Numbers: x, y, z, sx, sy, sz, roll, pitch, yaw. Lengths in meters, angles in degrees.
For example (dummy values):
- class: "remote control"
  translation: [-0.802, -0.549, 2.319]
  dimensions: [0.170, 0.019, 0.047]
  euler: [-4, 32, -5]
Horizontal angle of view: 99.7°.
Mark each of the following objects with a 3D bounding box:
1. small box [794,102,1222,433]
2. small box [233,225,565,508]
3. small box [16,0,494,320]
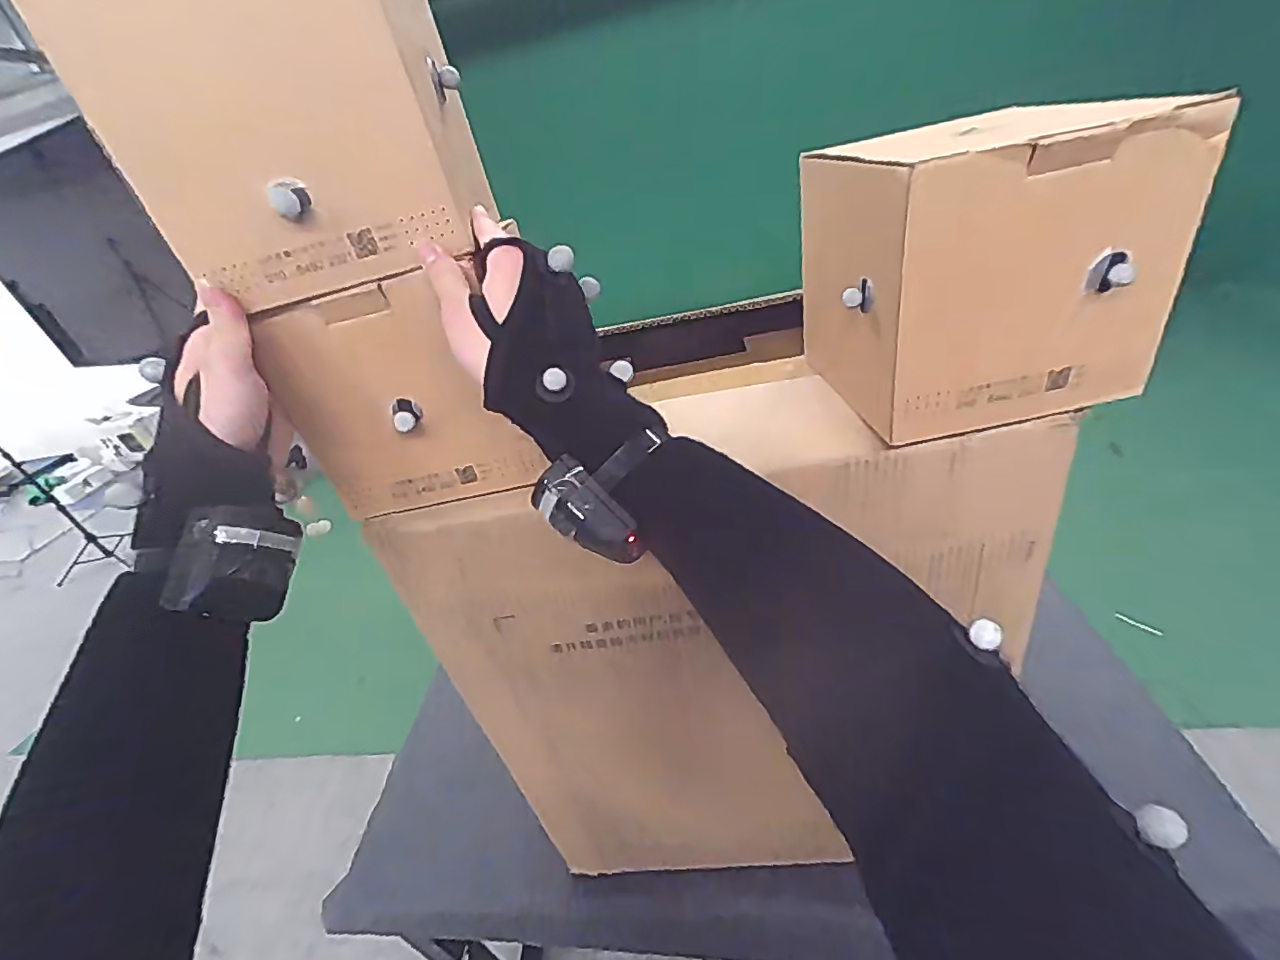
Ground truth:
- class: "small box"
  translation: [0.218, -0.144, 0.381]
  dimensions: [0.168, 0.176, 0.179]
  euler: [-11, 31, 1]
- class: "small box"
  translation: [-0.168, -0.091, 0.451]
  dimensions: [0.168, 0.176, 0.179]
  euler: [-12, 33, 6]
- class: "small box"
  translation: [-0.209, -0.223, 0.362]
  dimensions: [0.168, 0.176, 0.179]
  euler: [-15, 33, 1]
